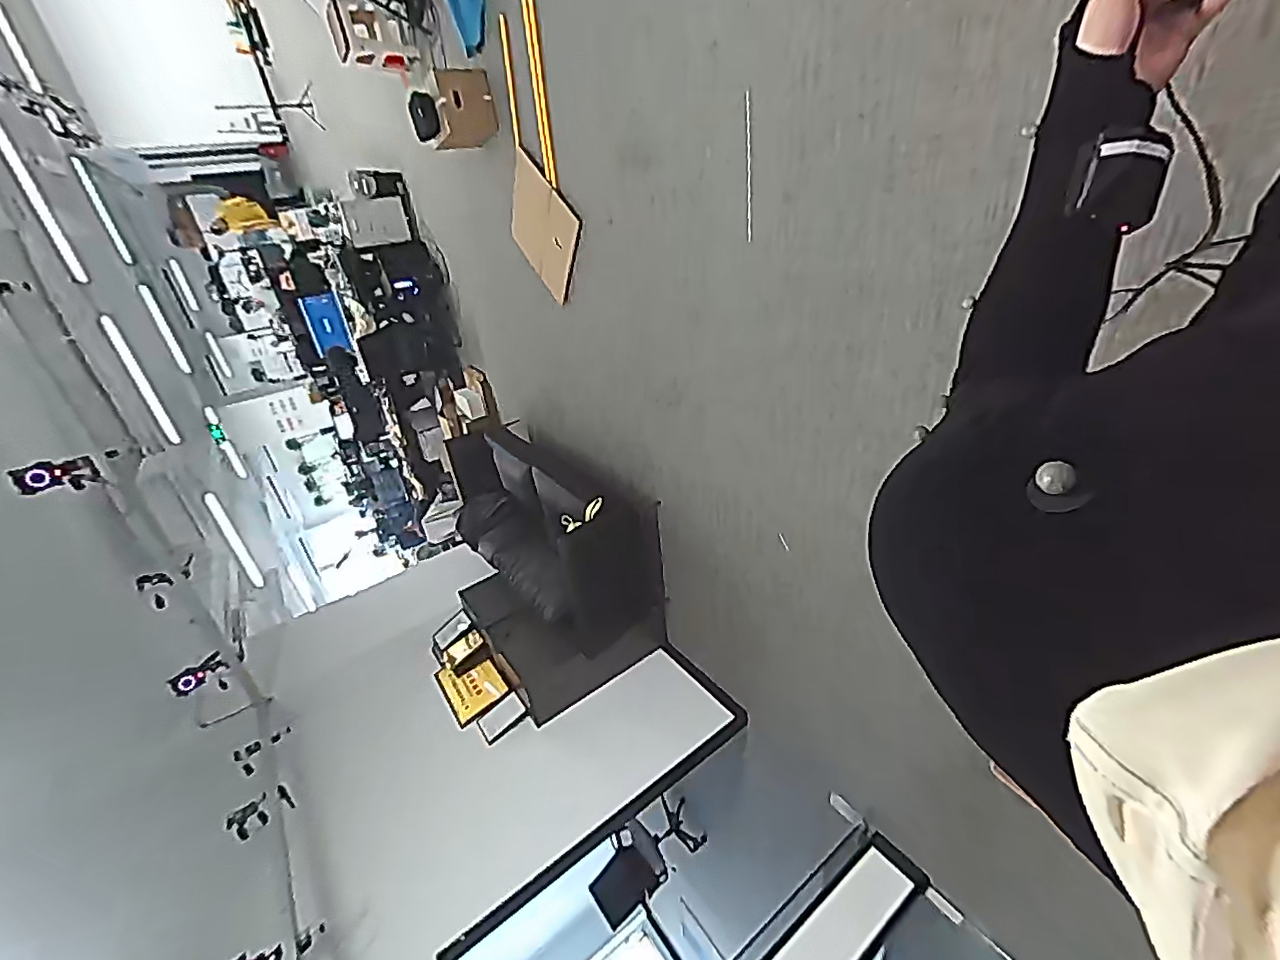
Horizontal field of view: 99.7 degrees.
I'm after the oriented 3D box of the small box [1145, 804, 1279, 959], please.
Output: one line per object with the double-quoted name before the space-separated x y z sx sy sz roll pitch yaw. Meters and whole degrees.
"small box" 1.223 0.828 1.123 0.179 0.176 0.168 37 141 40
